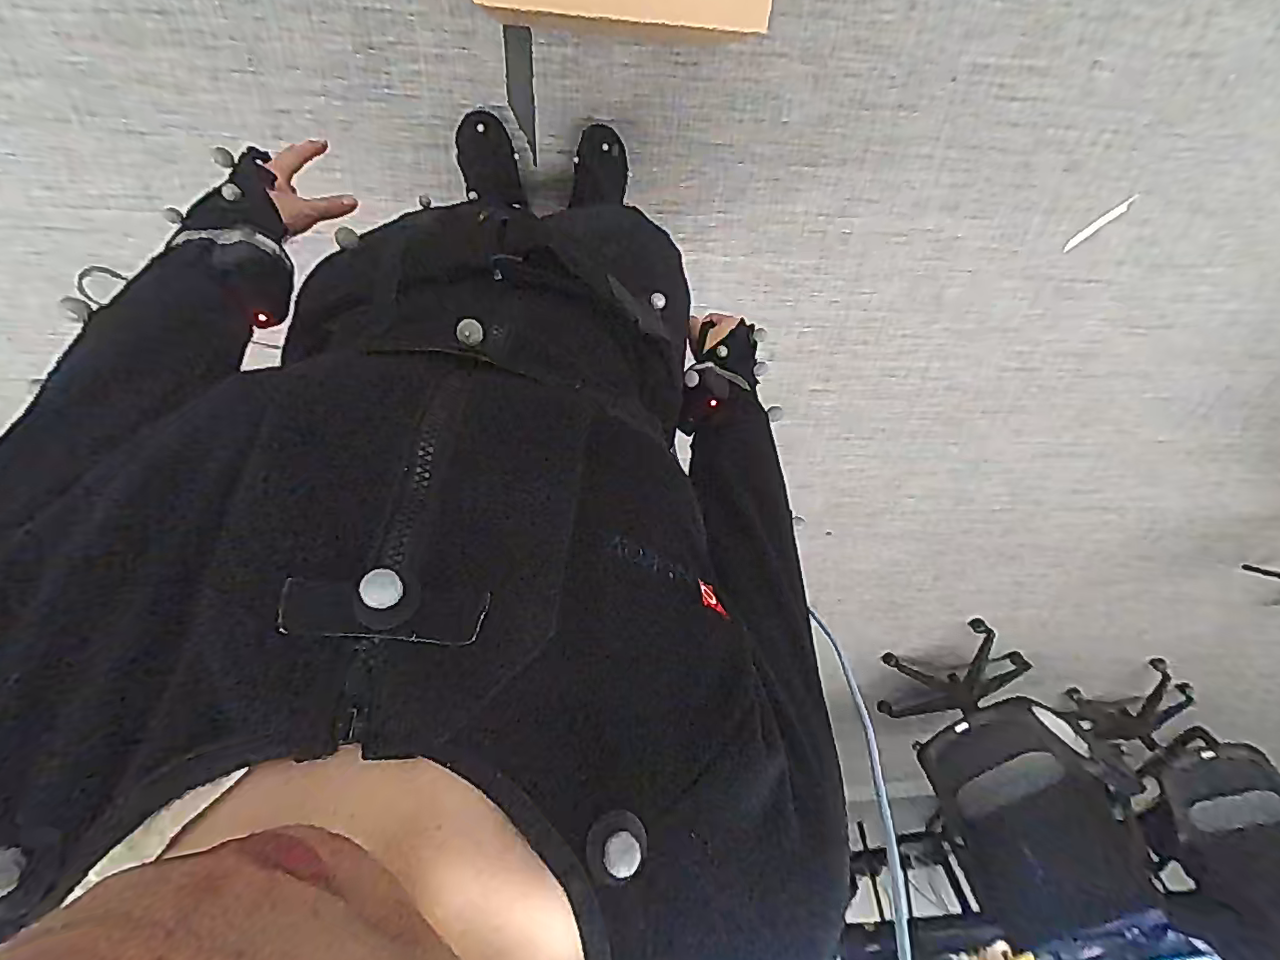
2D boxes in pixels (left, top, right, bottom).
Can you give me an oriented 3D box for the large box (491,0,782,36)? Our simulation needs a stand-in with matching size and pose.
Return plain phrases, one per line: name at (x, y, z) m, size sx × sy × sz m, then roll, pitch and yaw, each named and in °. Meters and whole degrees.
large box at (-0.017, -0.835, 0.745) m, size 0.408 × 0.320 × 0.320 m, roll -1°, pitch 127°, yaw -8°
